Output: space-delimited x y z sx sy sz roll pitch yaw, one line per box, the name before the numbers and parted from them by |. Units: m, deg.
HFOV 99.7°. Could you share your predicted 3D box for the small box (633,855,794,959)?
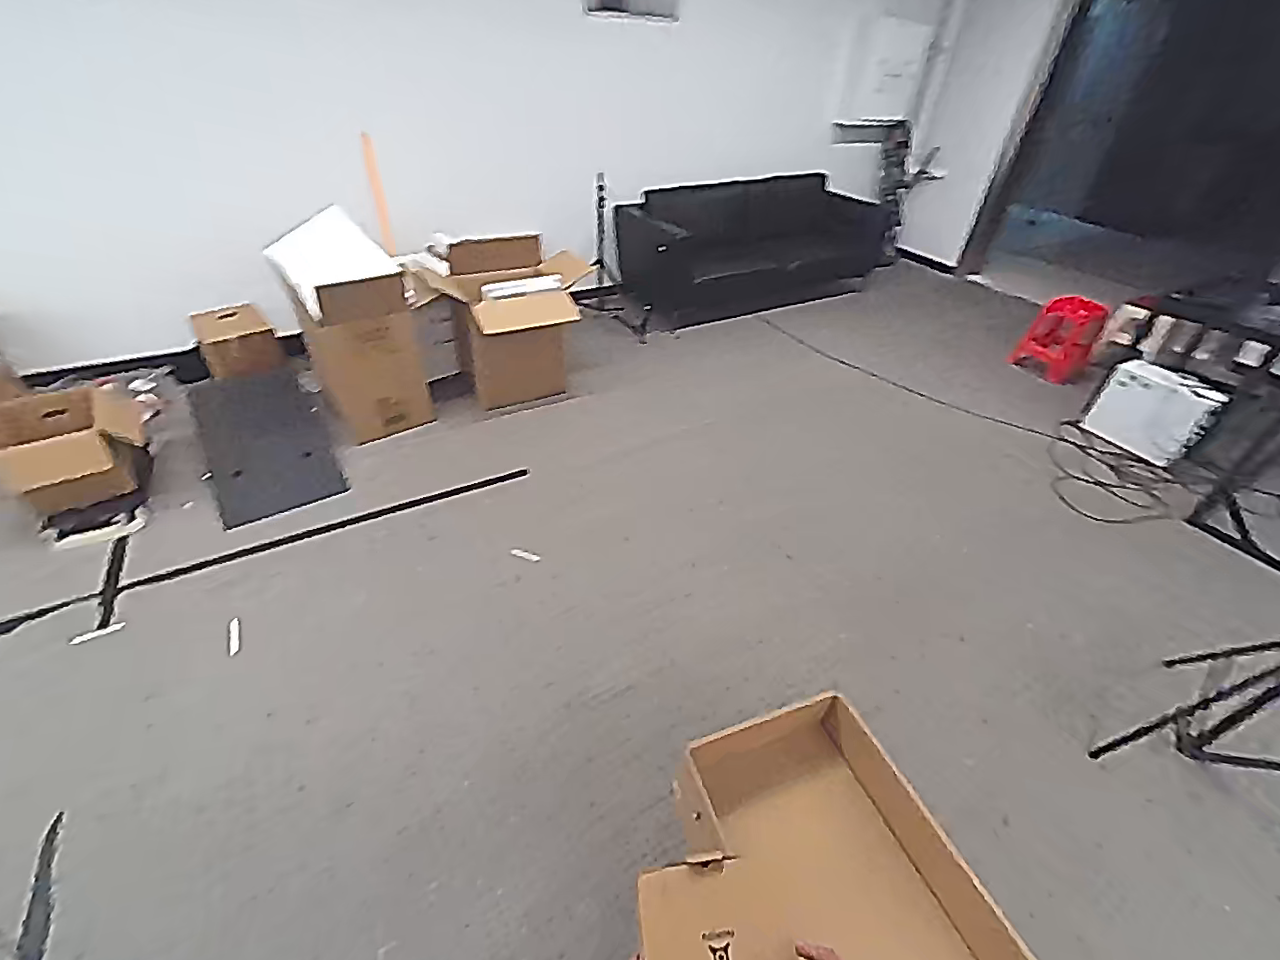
small box | 0.080 0.568 0.616 0.168 0.176 0.179 -5 36 -4
